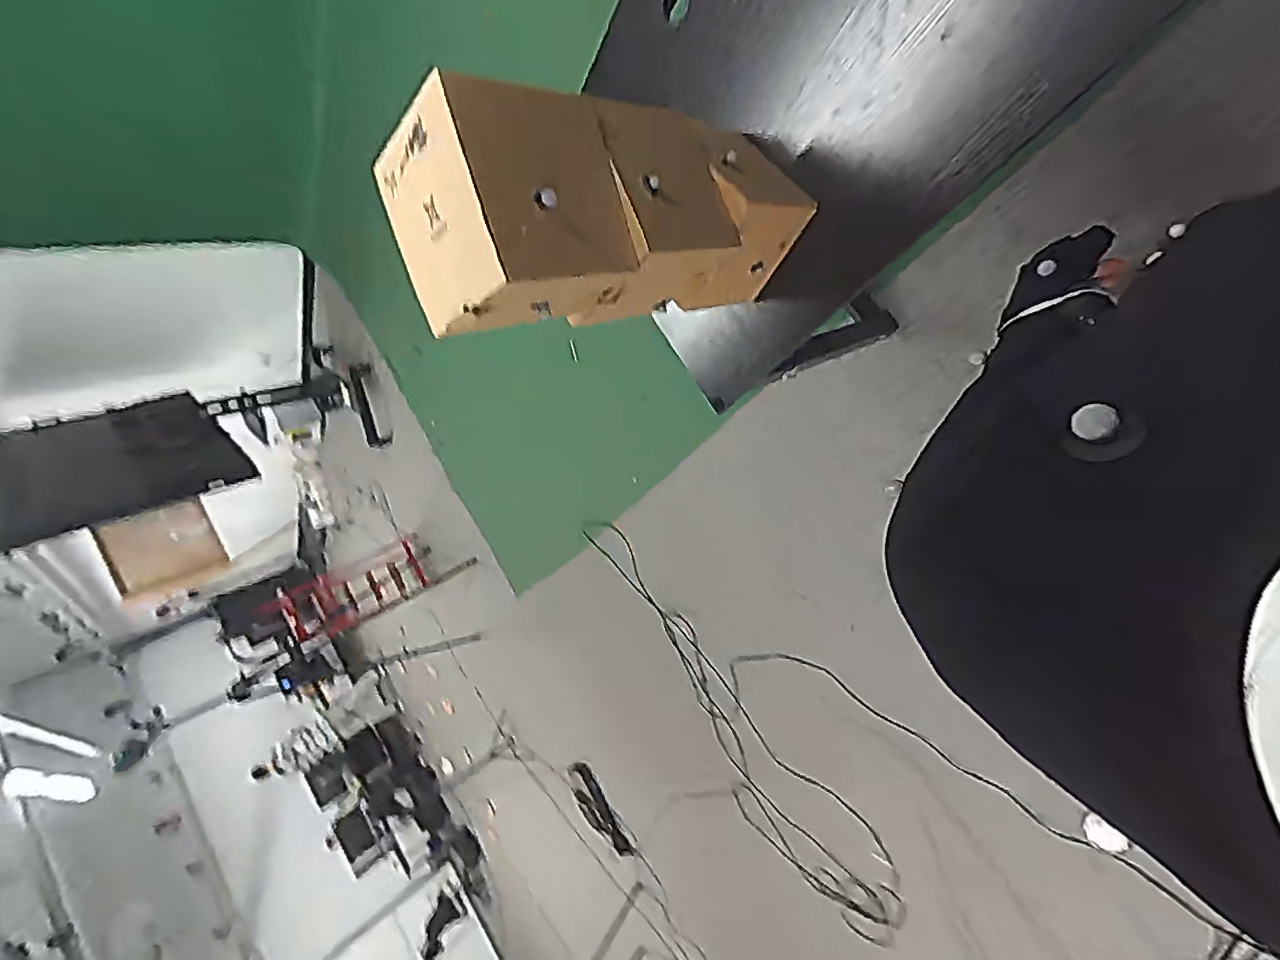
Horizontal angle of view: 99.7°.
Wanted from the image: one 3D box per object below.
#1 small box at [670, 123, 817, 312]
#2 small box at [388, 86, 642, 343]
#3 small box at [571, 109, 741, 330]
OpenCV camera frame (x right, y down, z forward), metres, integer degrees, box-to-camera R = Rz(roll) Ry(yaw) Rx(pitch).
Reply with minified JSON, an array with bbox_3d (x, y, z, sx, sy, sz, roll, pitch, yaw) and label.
[{"bbox_3d":[0.110,-0.365,0.768,0.179,0.176,0.168,51,137,15],"label":"small box"},{"bbox_3d":[-0.124,-0.262,0.561,0.168,0.176,0.179,-8,104,47],"label":"small box"},{"bbox_3d":[-0.005,-0.311,0.665,0.168,0.176,0.179,-24,91,49],"label":"small box"}]
